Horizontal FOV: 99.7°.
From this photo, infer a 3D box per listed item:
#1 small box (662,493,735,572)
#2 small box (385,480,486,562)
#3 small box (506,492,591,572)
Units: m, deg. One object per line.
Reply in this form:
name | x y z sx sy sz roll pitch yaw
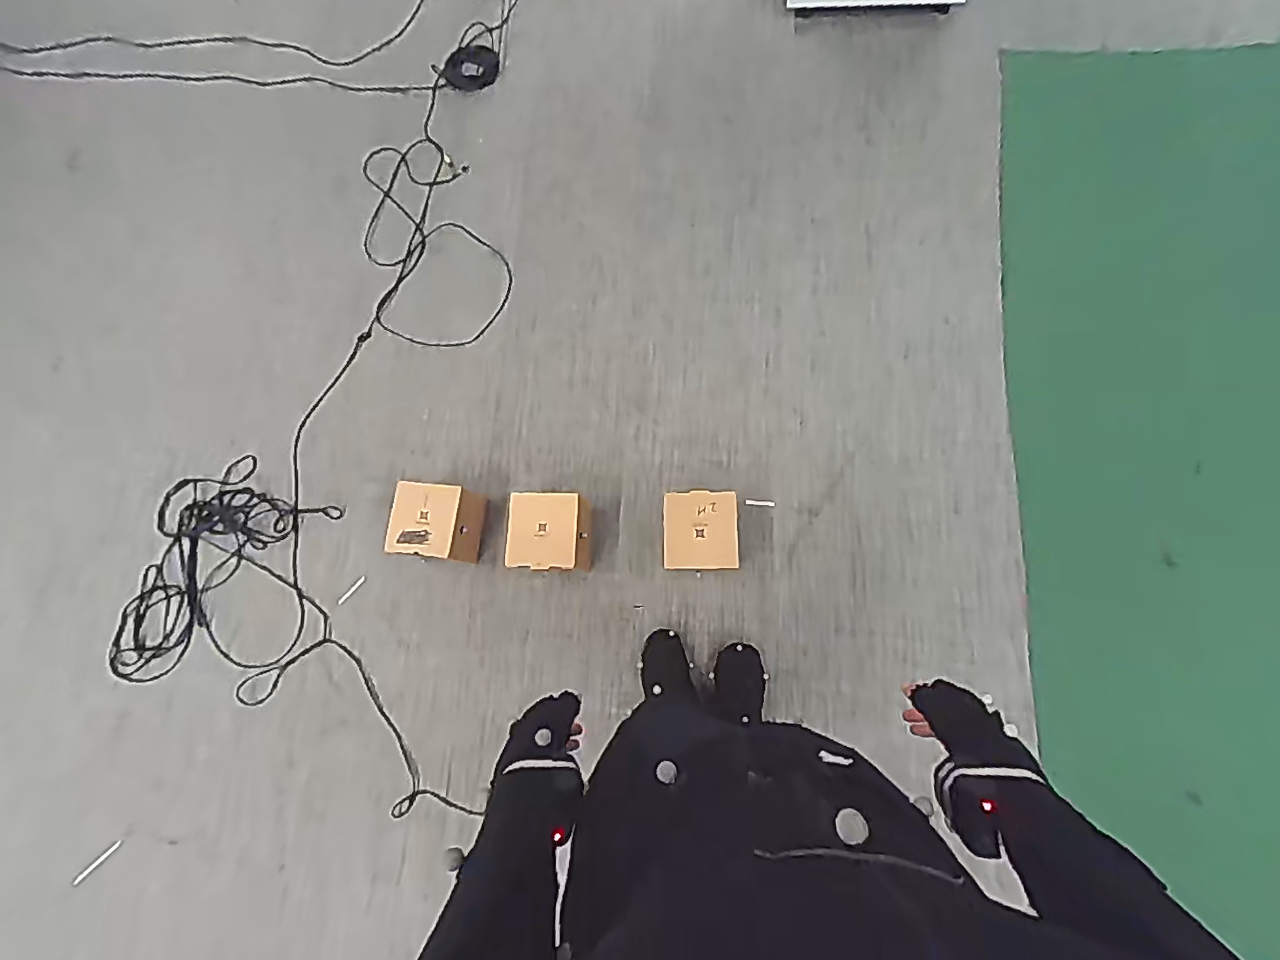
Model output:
small box | 0.139 0.131 1.294 0.168 0.176 0.179 -1 78 5
small box | -0.507 0.109 1.367 0.168 0.176 0.179 6 77 7
small box | -0.219 0.132 1.333 0.168 0.176 0.179 1 78 6
